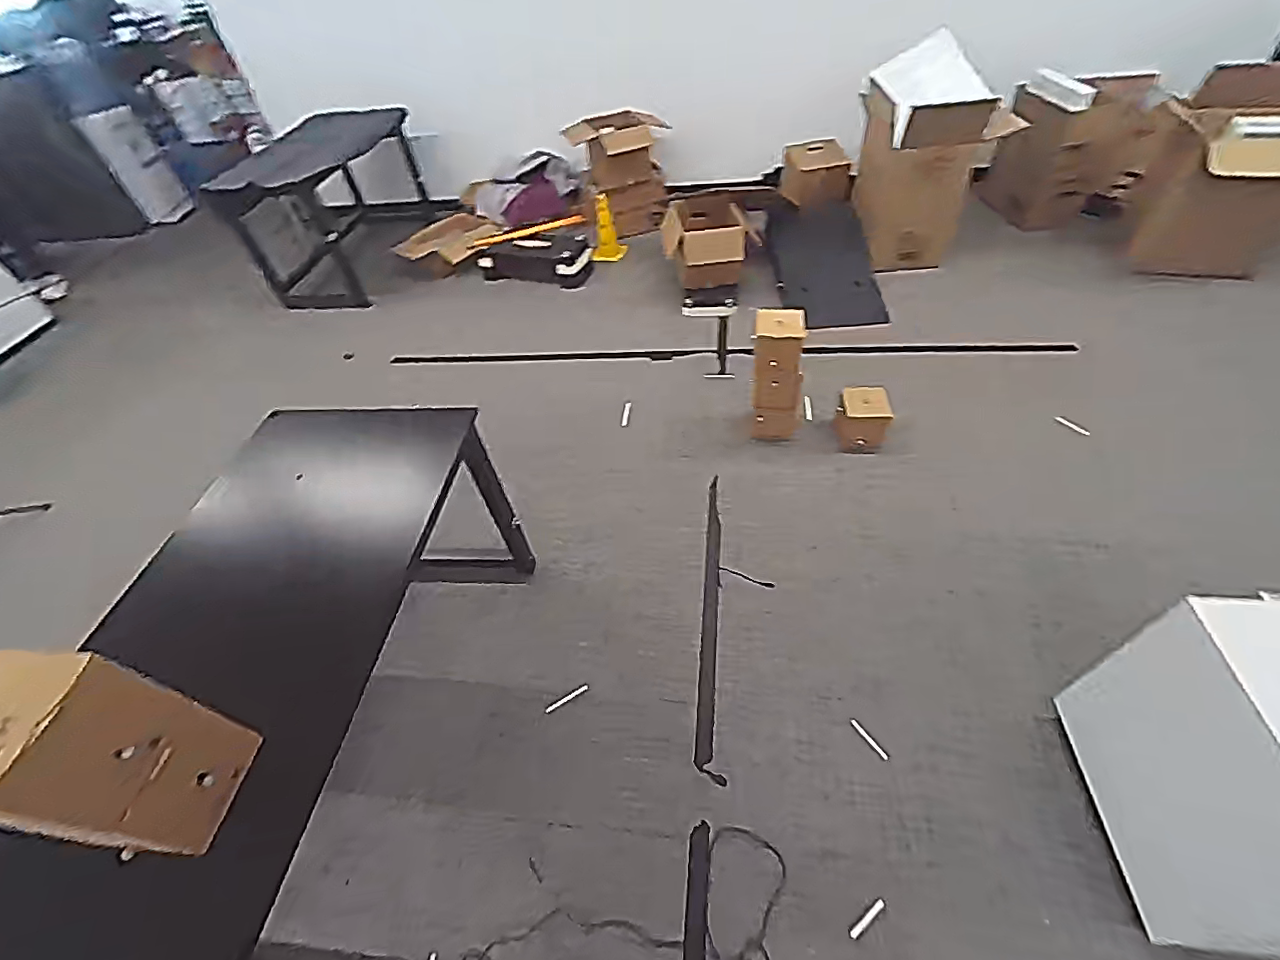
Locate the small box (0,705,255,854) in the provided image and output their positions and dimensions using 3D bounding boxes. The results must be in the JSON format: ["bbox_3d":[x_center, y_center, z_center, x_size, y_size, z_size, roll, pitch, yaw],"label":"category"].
[{"bbox_3d":[-0.724,0.436,0.793,0.179,0.176,0.168,0,48,7],"label":"small box"}]

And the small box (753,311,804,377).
[{"bbox_3d":[0.511,-0.507,2.012,0.168,0.176,0.179,3,49,9],"label":"small box"}]

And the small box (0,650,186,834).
[{"bbox_3d":[-0.742,0.326,0.671,0.179,0.176,0.168,0,49,7],"label":"small box"}]

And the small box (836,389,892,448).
[{"bbox_3d":[0.894,-0.247,2.175,0.168,0.176,0.179,-1,49,8],"label":"small box"}]

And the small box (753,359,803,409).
[{"bbox_3d":[0.535,-0.394,2.127,0.179,0.176,0.168,2,49,7],"label":"small box"}]
